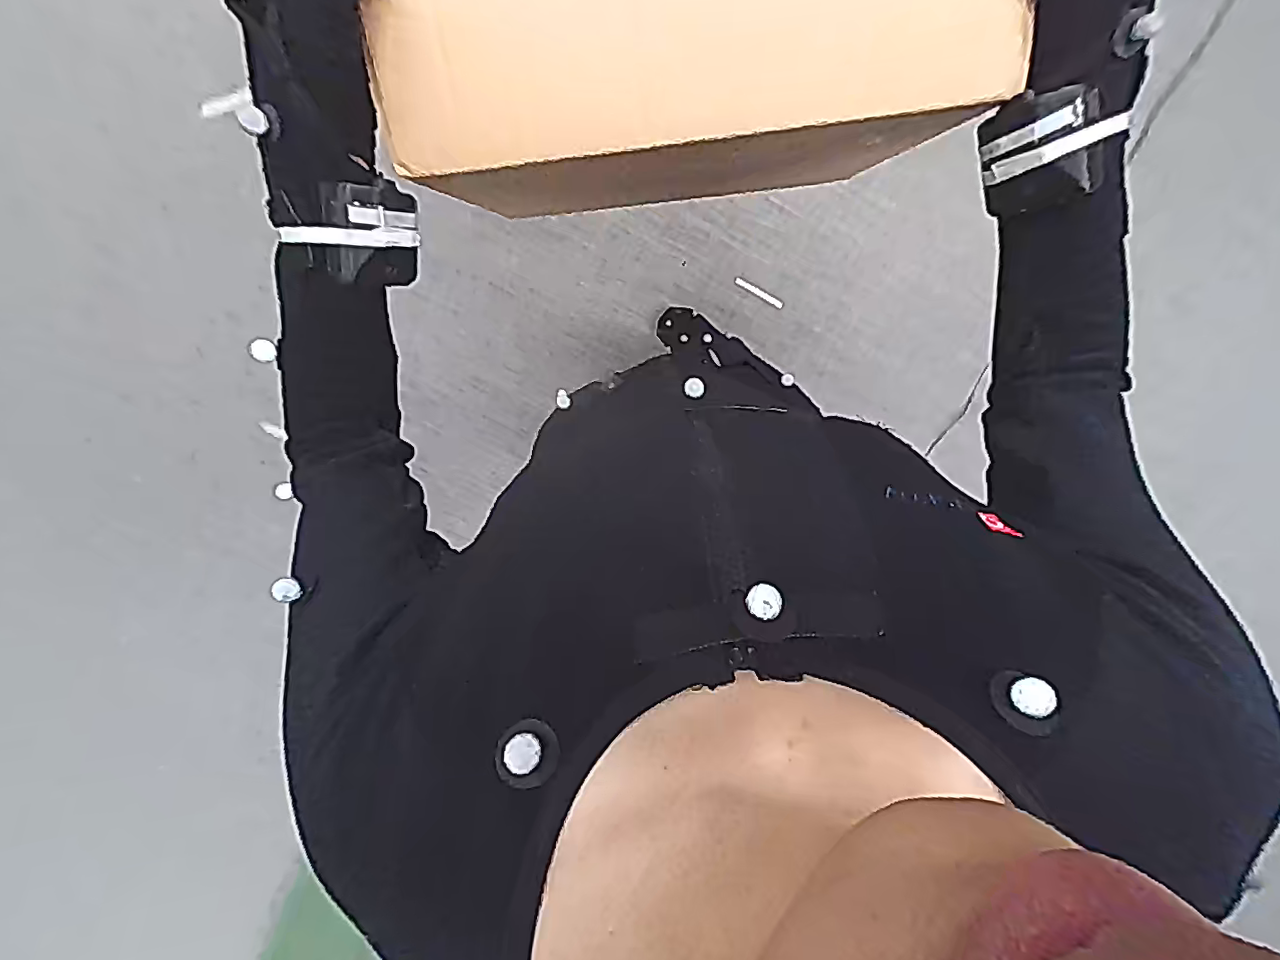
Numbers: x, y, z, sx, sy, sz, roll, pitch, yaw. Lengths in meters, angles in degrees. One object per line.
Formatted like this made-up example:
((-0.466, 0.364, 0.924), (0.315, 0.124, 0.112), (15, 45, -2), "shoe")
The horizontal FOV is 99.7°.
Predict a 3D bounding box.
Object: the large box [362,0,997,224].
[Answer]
((0.010, -0.427, 0.453), (0.408, 0.320, 0.320), (-8, 111, 2), "large box")
